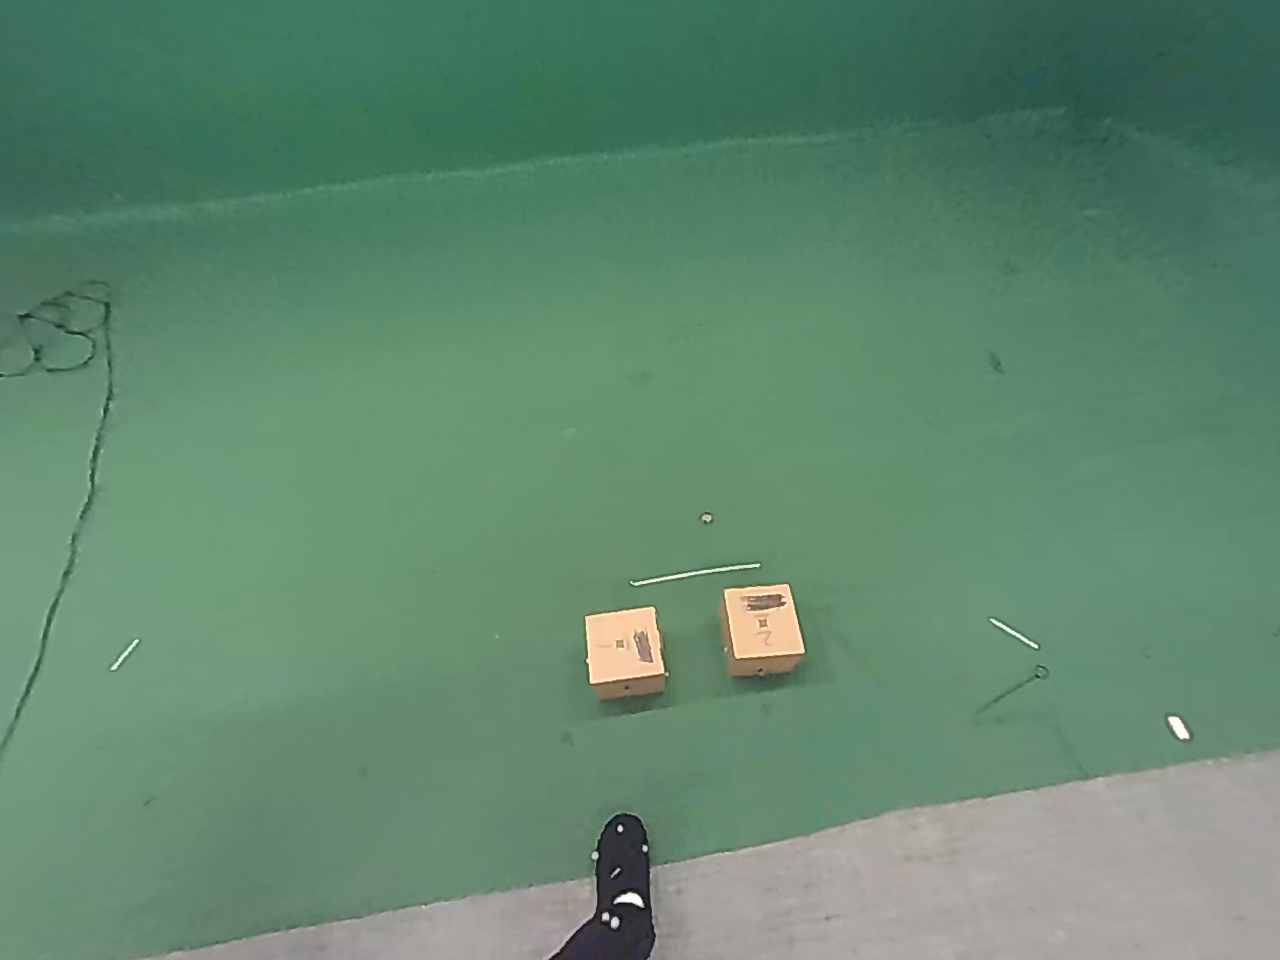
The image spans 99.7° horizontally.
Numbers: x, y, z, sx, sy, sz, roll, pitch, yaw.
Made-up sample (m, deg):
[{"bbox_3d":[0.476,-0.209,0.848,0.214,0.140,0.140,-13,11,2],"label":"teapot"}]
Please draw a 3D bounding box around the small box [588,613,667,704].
[{"bbox_3d":[-0.030,0.446,1.347,0.179,0.176,0.168,-8,55,-1],"label":"small box"}]
